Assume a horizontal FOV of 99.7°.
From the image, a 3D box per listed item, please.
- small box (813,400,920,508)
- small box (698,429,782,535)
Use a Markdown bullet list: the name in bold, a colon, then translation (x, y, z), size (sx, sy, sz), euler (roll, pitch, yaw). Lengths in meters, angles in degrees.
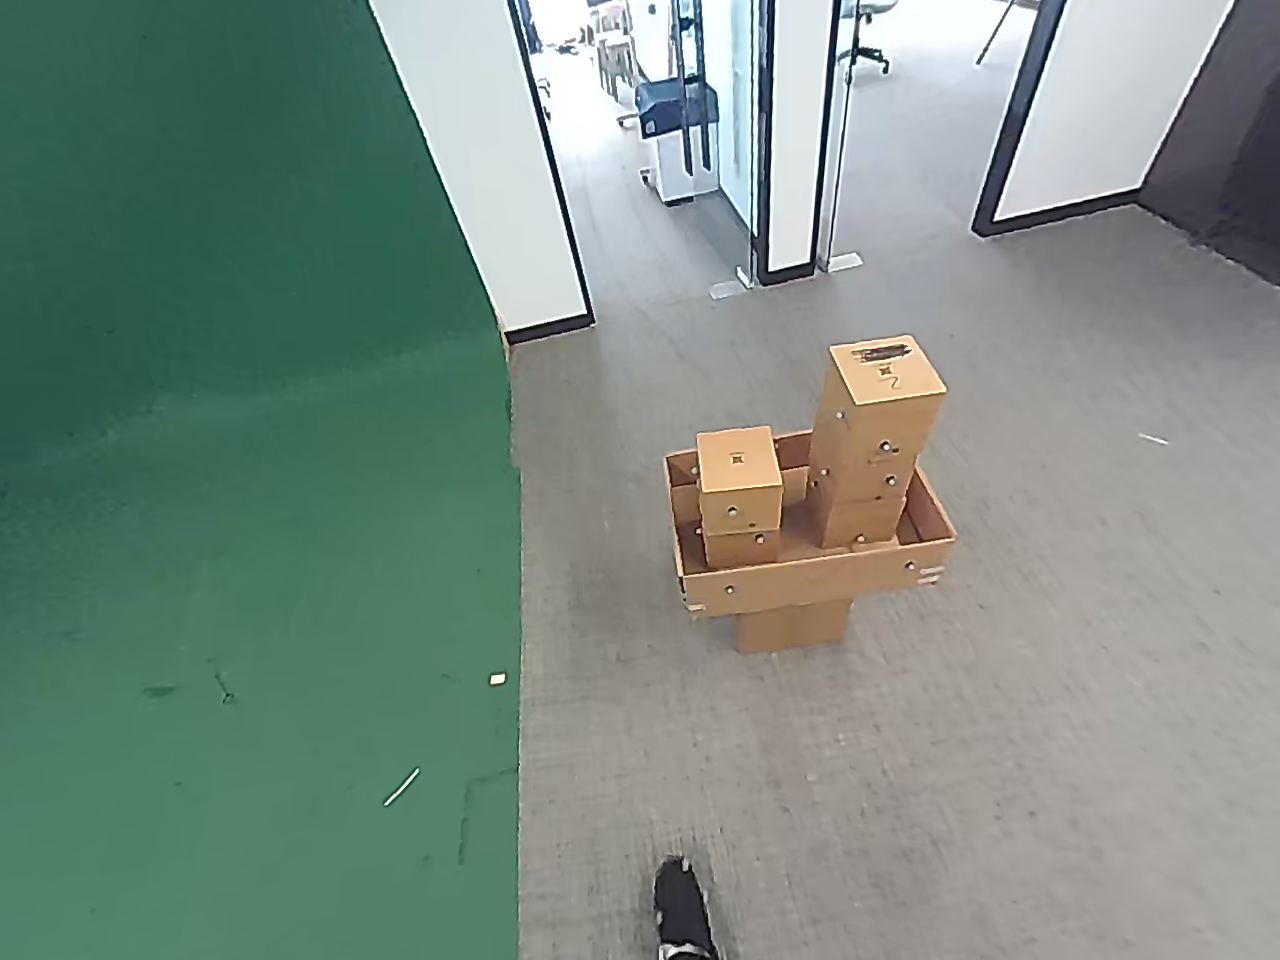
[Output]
- **small box**: translation (0.496, -0.051, 1.212), size (0.168, 0.176, 0.179), euler (-8, 49, 4)
- **small box**: translation (0.224, 0.012, 1.215), size (0.168, 0.176, 0.179), euler (-6, 49, 6)
